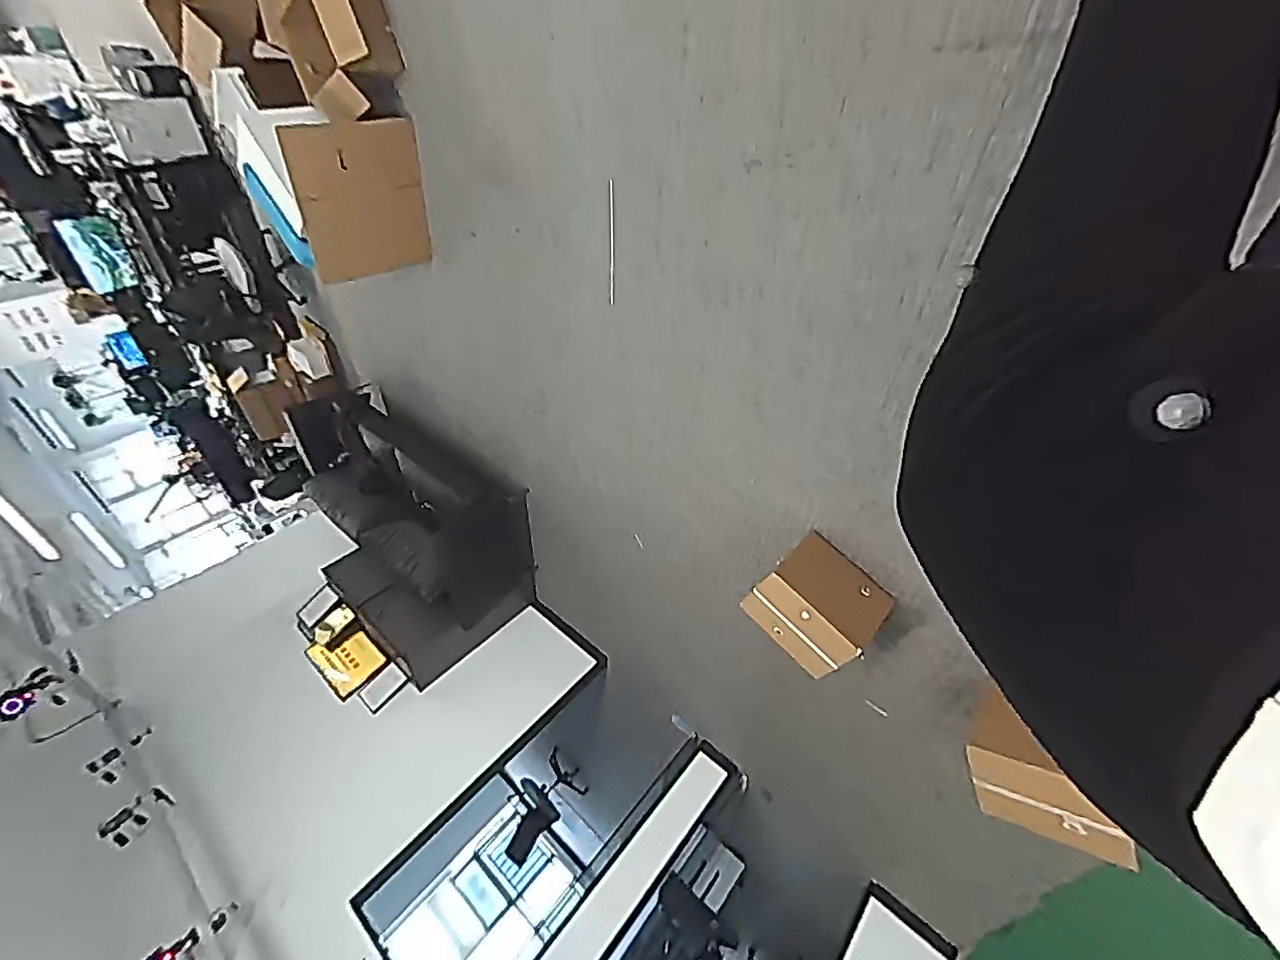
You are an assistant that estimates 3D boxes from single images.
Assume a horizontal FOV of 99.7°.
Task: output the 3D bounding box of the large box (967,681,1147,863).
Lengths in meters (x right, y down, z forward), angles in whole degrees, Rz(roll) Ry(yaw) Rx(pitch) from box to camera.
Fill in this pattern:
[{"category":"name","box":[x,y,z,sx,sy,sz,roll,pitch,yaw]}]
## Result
[{"category":"large box","box":[1.345,0.908,1.745,0.408,0.320,0.320,-3,117,48]}]
